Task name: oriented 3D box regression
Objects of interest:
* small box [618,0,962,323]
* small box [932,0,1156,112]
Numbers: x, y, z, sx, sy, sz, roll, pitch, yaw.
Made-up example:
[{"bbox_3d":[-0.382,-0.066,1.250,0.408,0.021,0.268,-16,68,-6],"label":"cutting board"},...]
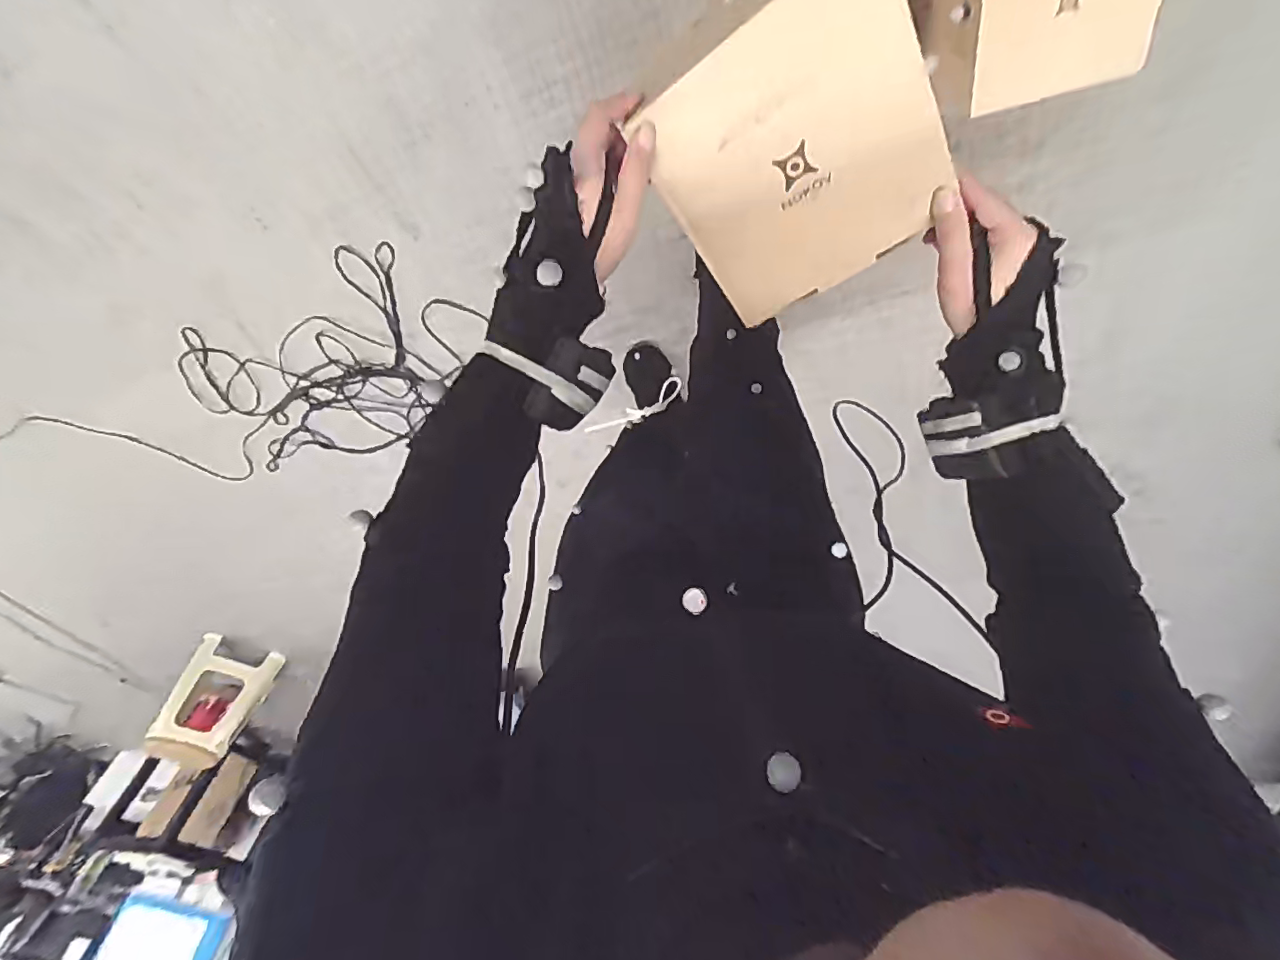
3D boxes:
[{"bbox_3d":[0.106,-0.262,0.403,0.168,0.176,0.179,-26,130,29],"label":"small box"},{"bbox_3d":[0.433,-0.544,0.593,0.168,0.176,0.179,-8,132,16],"label":"small box"}]
